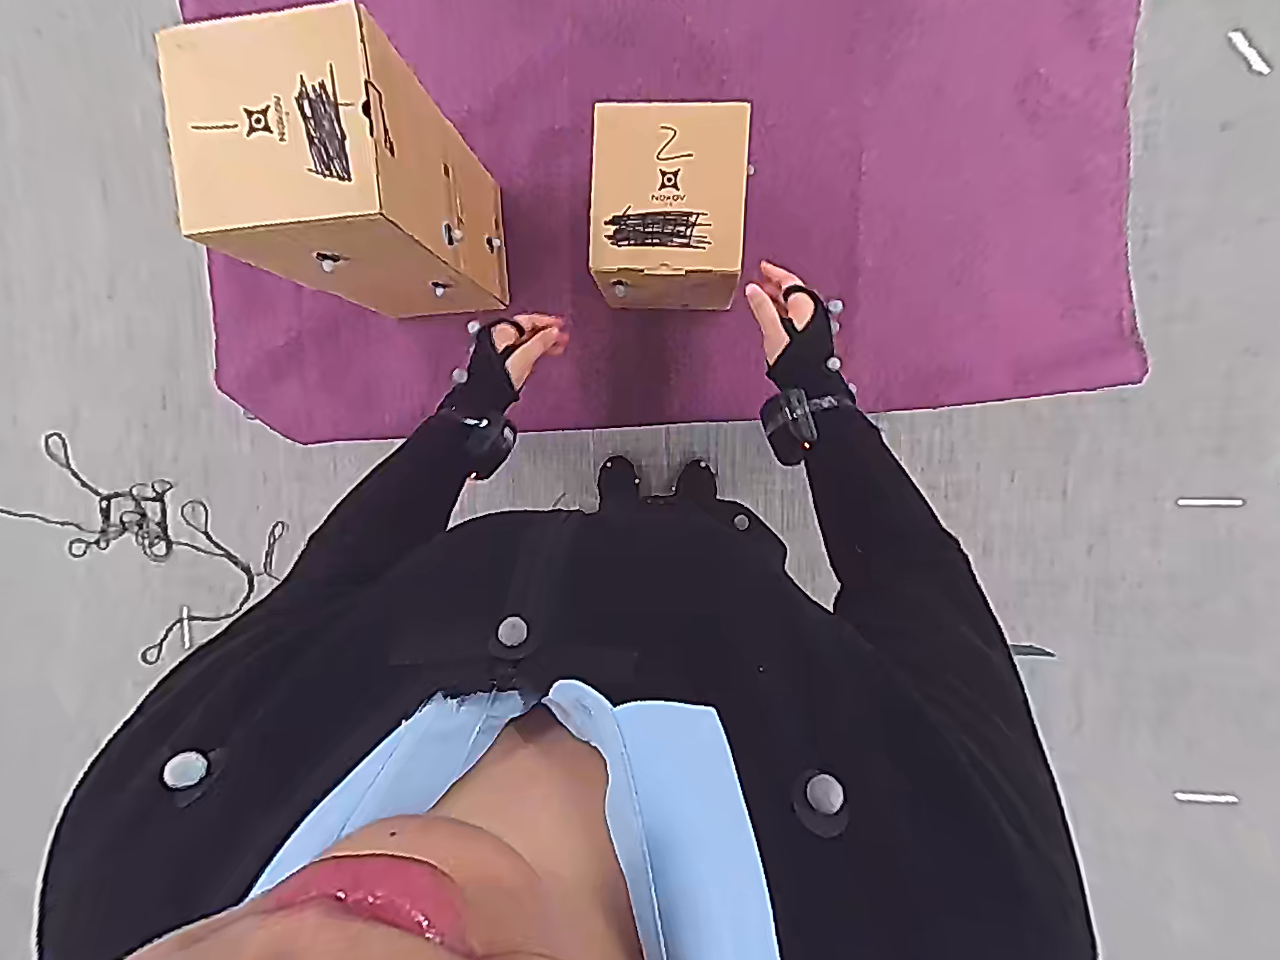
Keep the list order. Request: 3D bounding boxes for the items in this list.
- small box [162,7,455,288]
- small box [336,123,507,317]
[{"bbox_3d":[-0.291,-0.294,0.518,0.179,0.176,0.168,-4,94,4],"label":"small box"},{"bbox_3d":[-0.282,-0.310,0.682,0.179,0.176,0.168,-4,94,3],"label":"small box"}]
